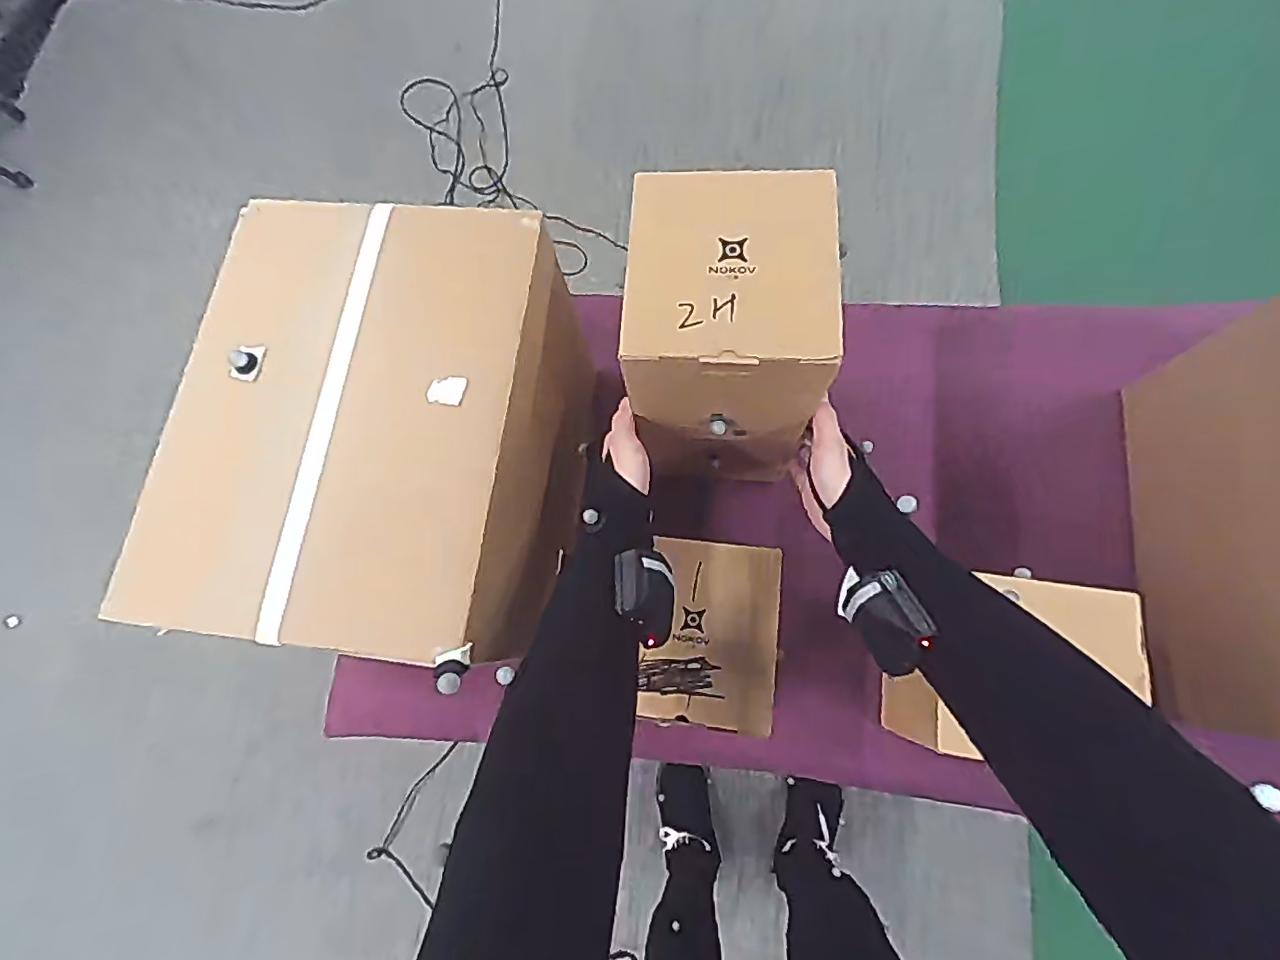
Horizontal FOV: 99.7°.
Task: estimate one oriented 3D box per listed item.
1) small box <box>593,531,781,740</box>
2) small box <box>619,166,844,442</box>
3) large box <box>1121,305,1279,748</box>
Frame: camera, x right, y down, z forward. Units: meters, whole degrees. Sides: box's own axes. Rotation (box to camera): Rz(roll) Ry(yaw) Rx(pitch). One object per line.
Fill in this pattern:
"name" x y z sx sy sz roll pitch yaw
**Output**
"small box" 0.056 0.166 0.595 0.168 0.176 0.179 6 74 8
"small box" 0.078 -0.148 0.491 0.168 0.176 0.179 3 75 6
"large box" 0.721 0.051 0.483 0.320 0.320 0.408 6 75 10
